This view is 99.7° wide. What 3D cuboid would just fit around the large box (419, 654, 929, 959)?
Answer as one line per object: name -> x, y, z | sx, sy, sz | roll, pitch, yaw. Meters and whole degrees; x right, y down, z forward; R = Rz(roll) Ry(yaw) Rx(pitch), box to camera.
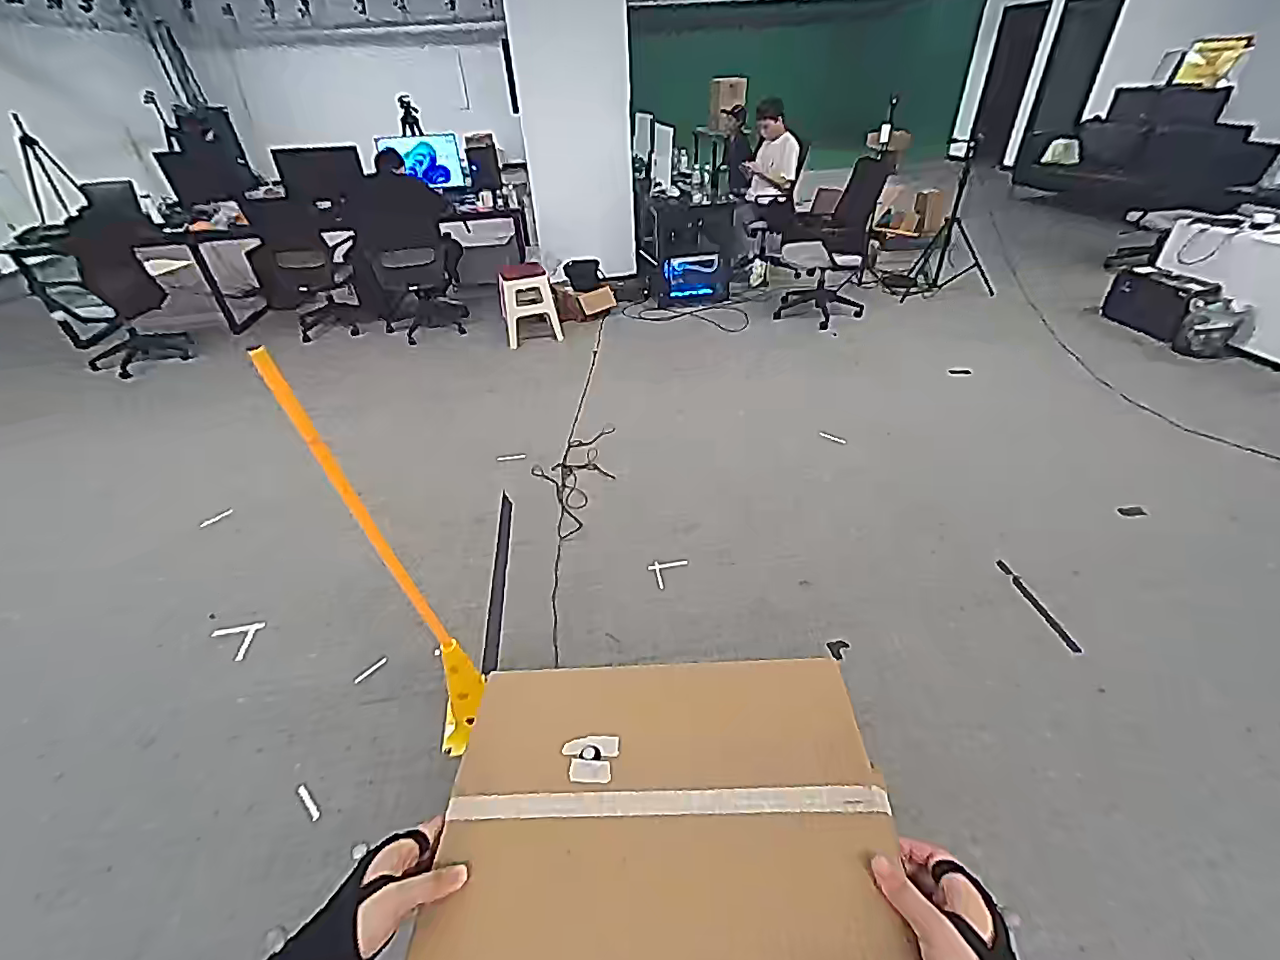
large box -> 0.042, 0.428, 0.596 | 0.408, 0.320, 0.320 | -6, 33, 6
